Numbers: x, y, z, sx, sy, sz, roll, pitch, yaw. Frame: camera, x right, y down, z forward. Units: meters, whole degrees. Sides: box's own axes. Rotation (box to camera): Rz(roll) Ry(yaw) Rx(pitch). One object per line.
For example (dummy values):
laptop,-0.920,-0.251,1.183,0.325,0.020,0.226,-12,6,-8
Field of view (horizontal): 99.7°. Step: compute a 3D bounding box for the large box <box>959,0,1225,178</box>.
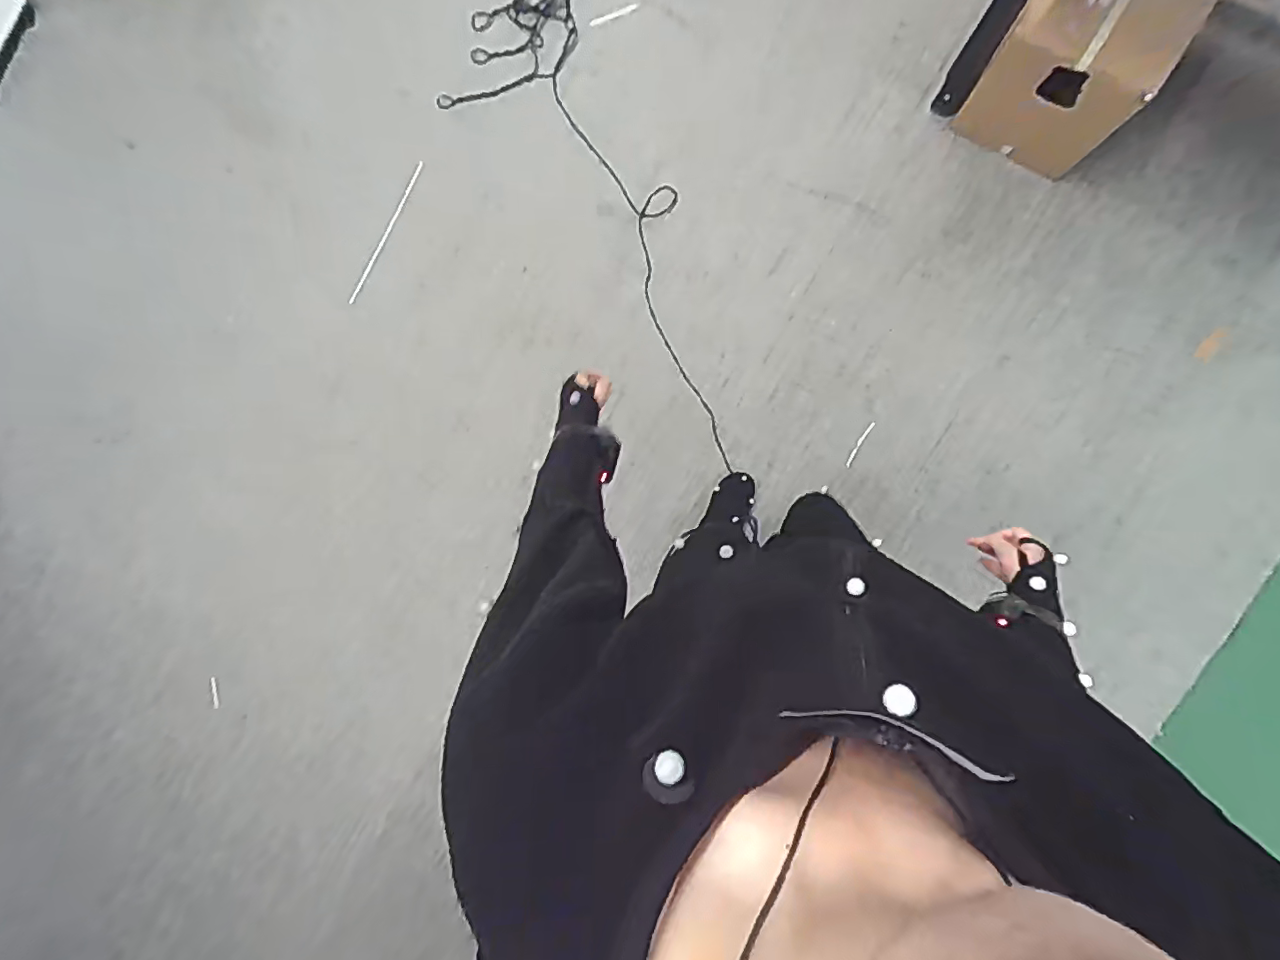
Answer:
large box,1.031,-1.006,1.228,0.320,0.320,0.408,31,96,8
